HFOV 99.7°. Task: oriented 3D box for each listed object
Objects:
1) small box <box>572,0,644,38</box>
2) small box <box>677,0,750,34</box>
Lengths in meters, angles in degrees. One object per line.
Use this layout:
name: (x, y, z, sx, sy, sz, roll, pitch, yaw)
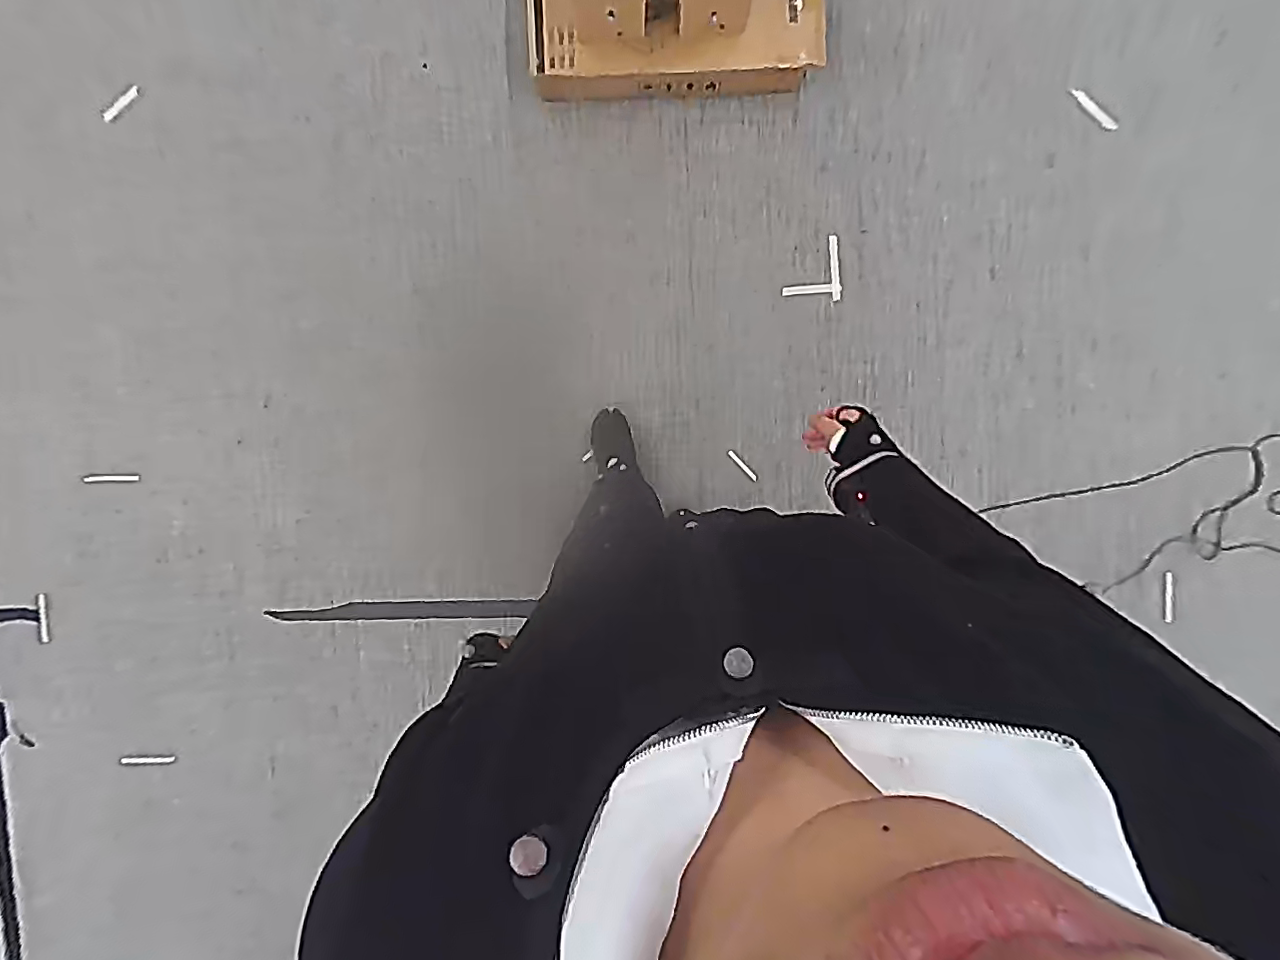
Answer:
small box: (-0.078, -1.168, 1.251, 0.168, 0.176, 0.179, -5, 93, 1)
small box: (0.170, -1.186, 1.249, 0.168, 0.176, 0.179, -3, 92, 1)
